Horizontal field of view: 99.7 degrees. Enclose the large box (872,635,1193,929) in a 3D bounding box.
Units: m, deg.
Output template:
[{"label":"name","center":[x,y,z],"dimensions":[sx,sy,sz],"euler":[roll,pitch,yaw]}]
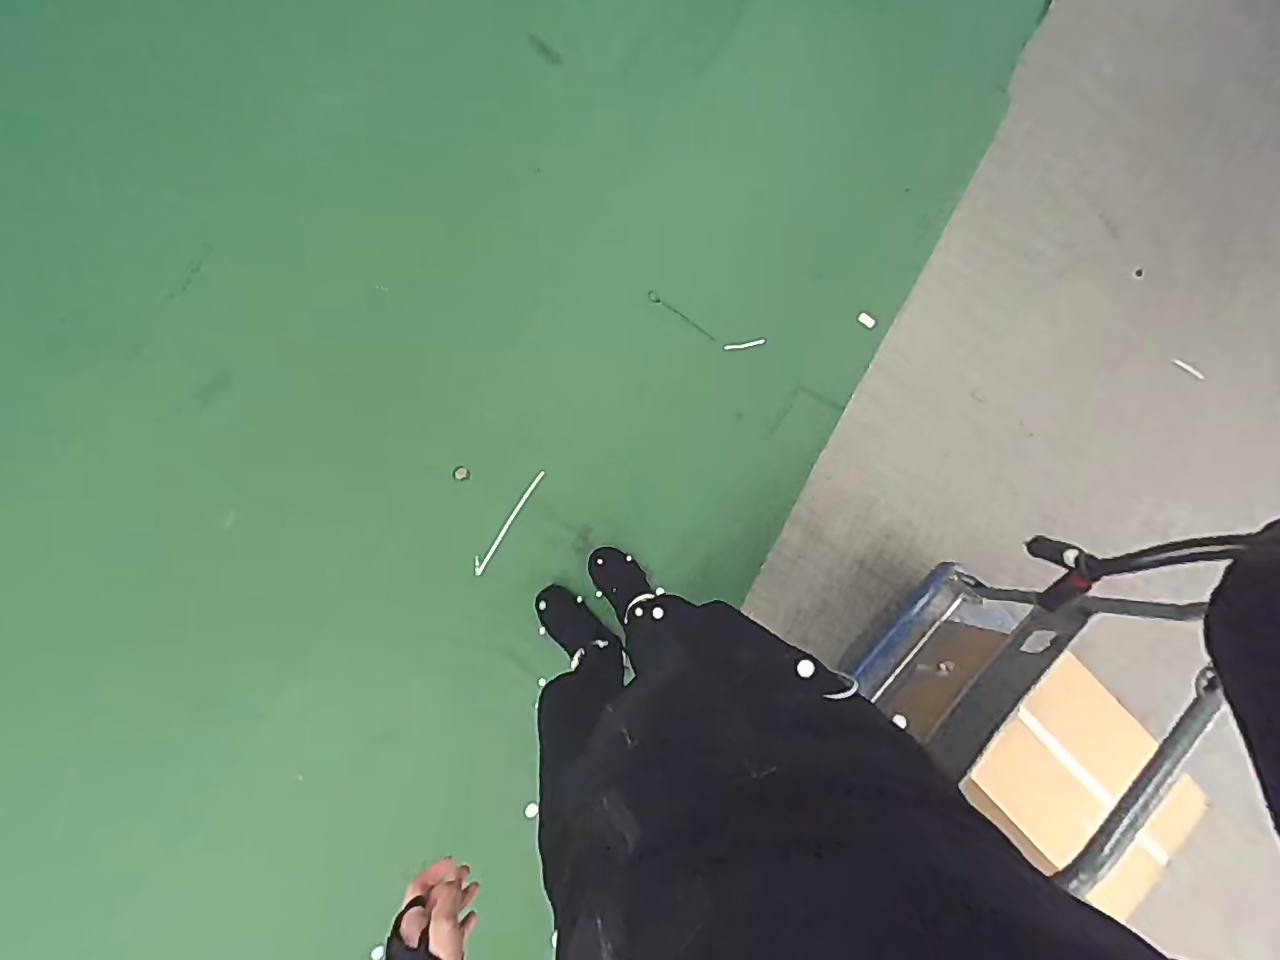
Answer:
[{"label":"large box","center":[0.807,0.602,1.166],"dimensions":[0.320,0.320,0.408],"euler":[-43,89,-9]}]
